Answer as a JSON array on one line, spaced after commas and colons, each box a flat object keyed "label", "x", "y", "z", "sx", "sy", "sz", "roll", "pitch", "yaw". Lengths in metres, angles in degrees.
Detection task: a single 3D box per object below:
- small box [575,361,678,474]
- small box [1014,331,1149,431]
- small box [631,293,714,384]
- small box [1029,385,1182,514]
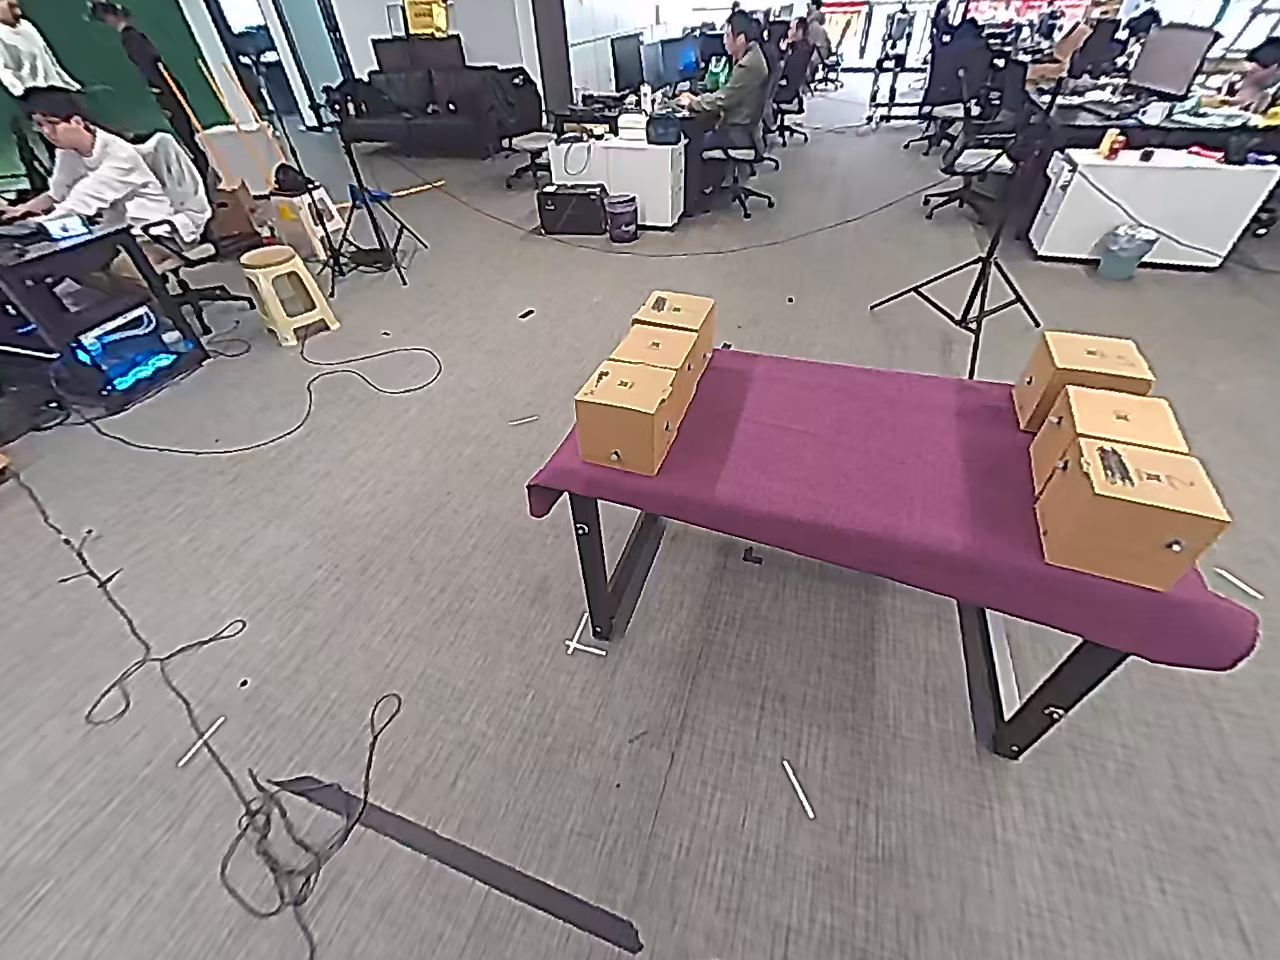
[{"label": "small box", "x": -0.025, "y": -0.135, "z": 1.184, "sx": 0.179, "sy": 0.176, "sz": 0.168, "roll": 13, "pitch": 44, "yaw": 15}, {"label": "small box", "x": 0.966, "y": -0.209, "z": 1.208, "sx": 0.179, "sy": 0.176, "sz": 0.168, "roll": 13, "pitch": 46, "yaw": 16}, {"label": "small box", "x": 0.088, "y": -0.375, "z": 1.438, "sx": 0.179, "sy": 0.176, "sz": 0.168, "roll": 14, "pitch": 47, "yaw": 16}, {"label": "small box", "x": 0.893, "y": -0.060, "z": 1.059, "sx": 0.168, "sy": 0.176, "sz": 0.179, "roll": 15, "pitch": 44, "yaw": 19}]
